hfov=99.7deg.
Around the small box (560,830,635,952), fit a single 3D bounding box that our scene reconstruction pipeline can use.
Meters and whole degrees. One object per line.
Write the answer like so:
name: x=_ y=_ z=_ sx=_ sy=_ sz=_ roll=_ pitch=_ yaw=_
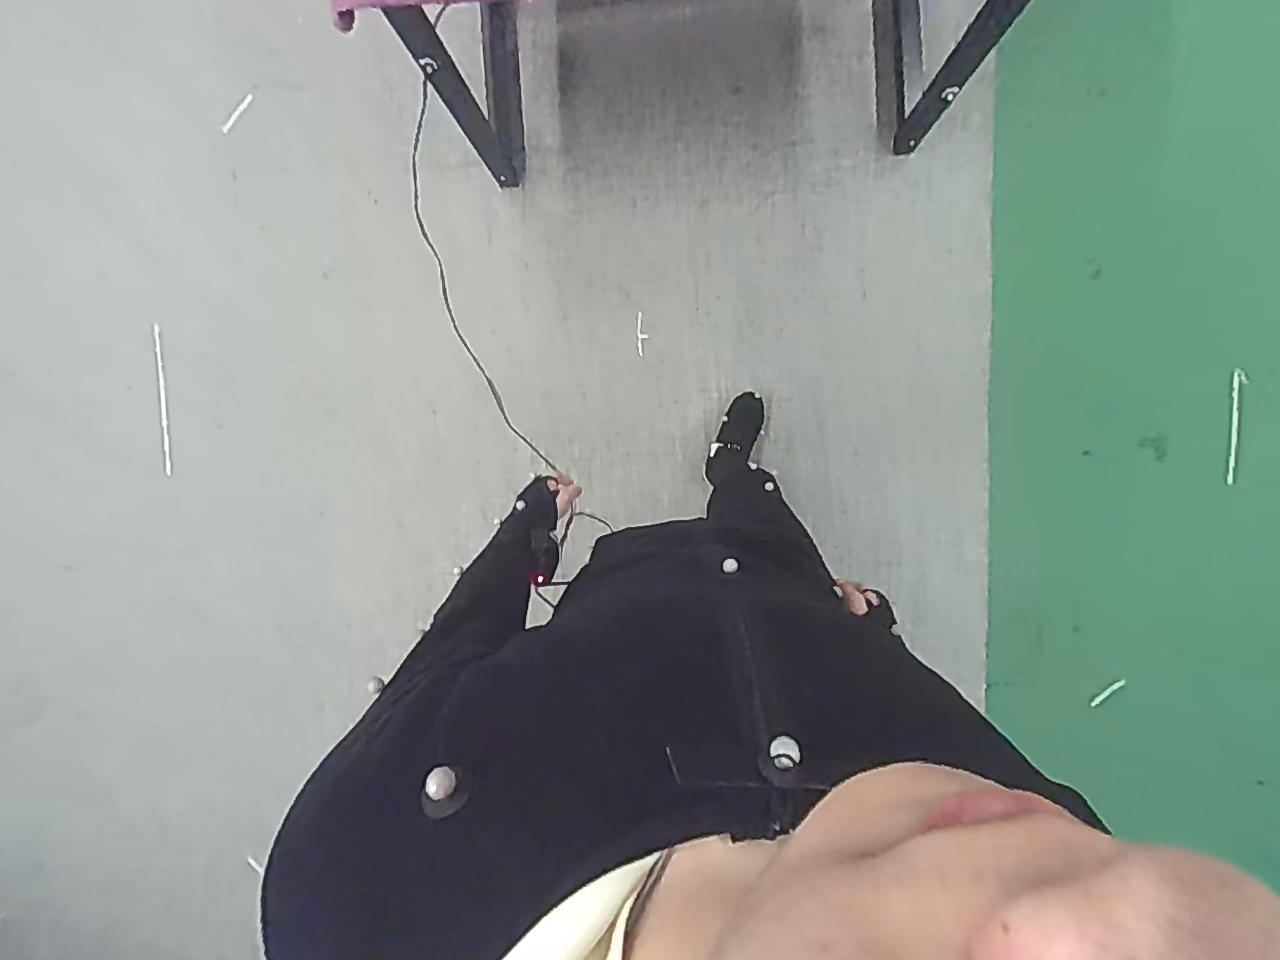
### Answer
small box: x=-0.102 y=1.027 z=1.365 sx=0.168 sy=0.176 sz=0.179 roll=5 pitch=94 yaw=2
